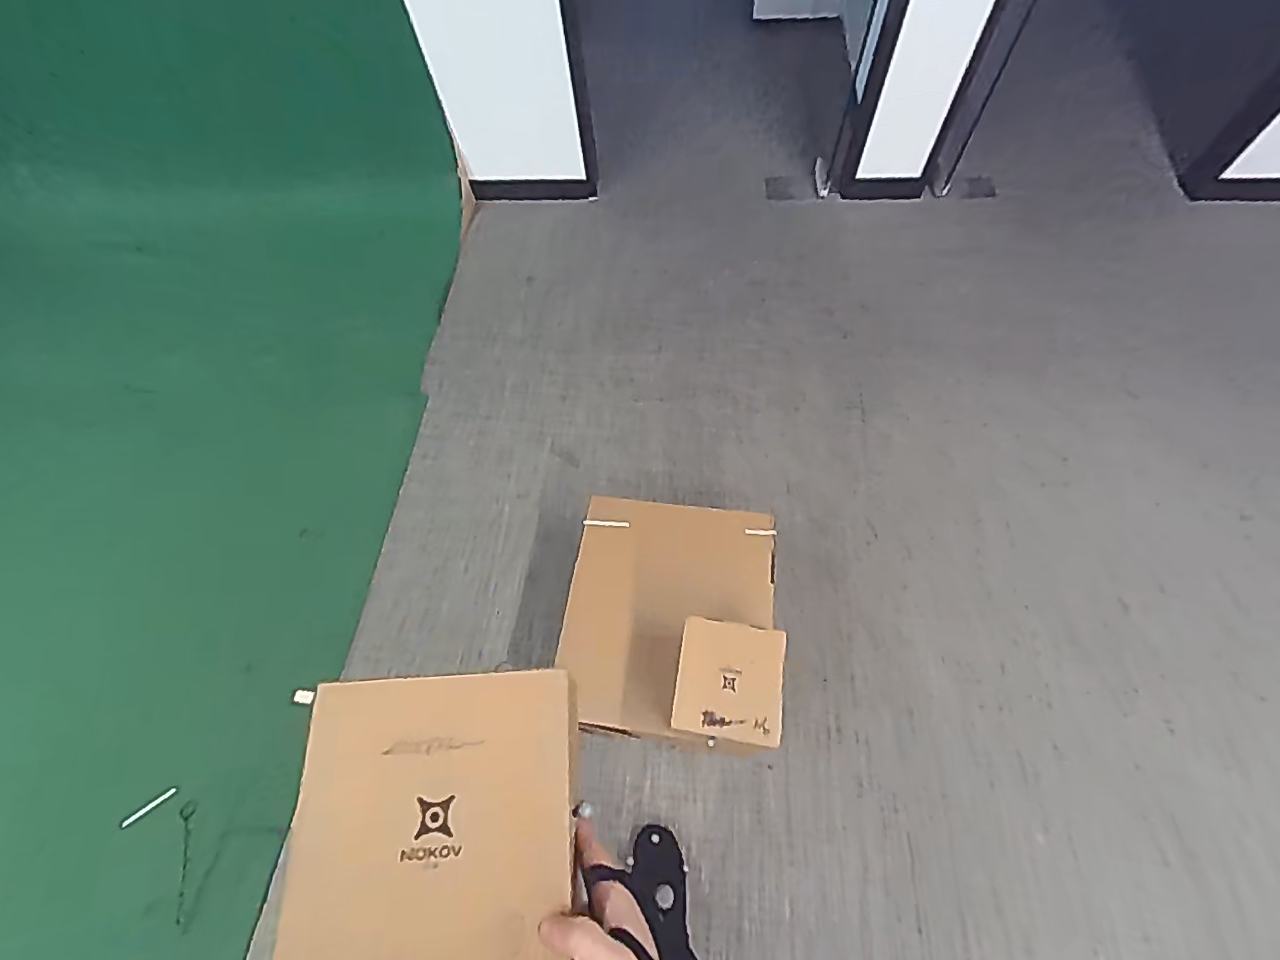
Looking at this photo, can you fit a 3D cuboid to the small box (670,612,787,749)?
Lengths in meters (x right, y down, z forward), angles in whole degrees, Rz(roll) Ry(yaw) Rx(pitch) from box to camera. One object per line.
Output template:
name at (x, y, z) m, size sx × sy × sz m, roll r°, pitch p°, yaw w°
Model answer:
small box at (0.144, 0.342, 0.912) m, size 0.168 × 0.176 × 0.179 m, roll 8°, pitch 62°, yaw 7°

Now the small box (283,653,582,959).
small box at (-0.130, 0.233, 0.415) m, size 0.168 × 0.176 × 0.179 m, roll -1°, pitch 66°, yaw -5°
